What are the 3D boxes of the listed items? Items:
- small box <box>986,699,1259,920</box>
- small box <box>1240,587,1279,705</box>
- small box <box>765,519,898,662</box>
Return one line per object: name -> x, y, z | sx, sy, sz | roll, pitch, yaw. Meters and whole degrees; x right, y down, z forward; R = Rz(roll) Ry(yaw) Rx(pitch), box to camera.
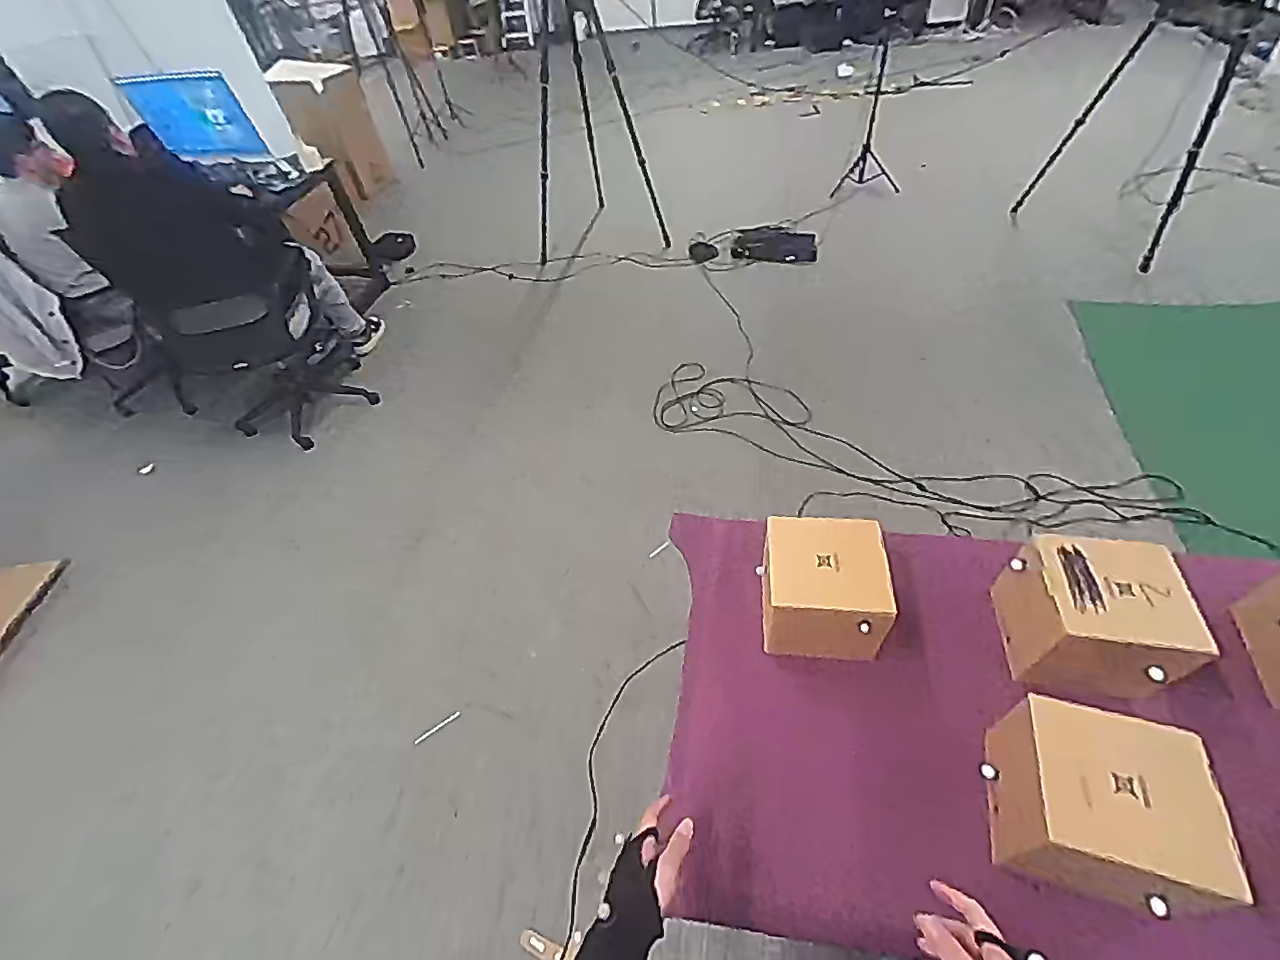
small box -> 0.546, 0.395, 0.648 | 0.179, 0.176, 0.168 | 10, 49, 18
small box -> 0.990, 0.236, 0.725 | 0.168, 0.176, 0.179 | 9, 50, 16
small box -> 0.294, 0.181, 0.875 | 0.179, 0.176, 0.168 | 2, 49, 9
